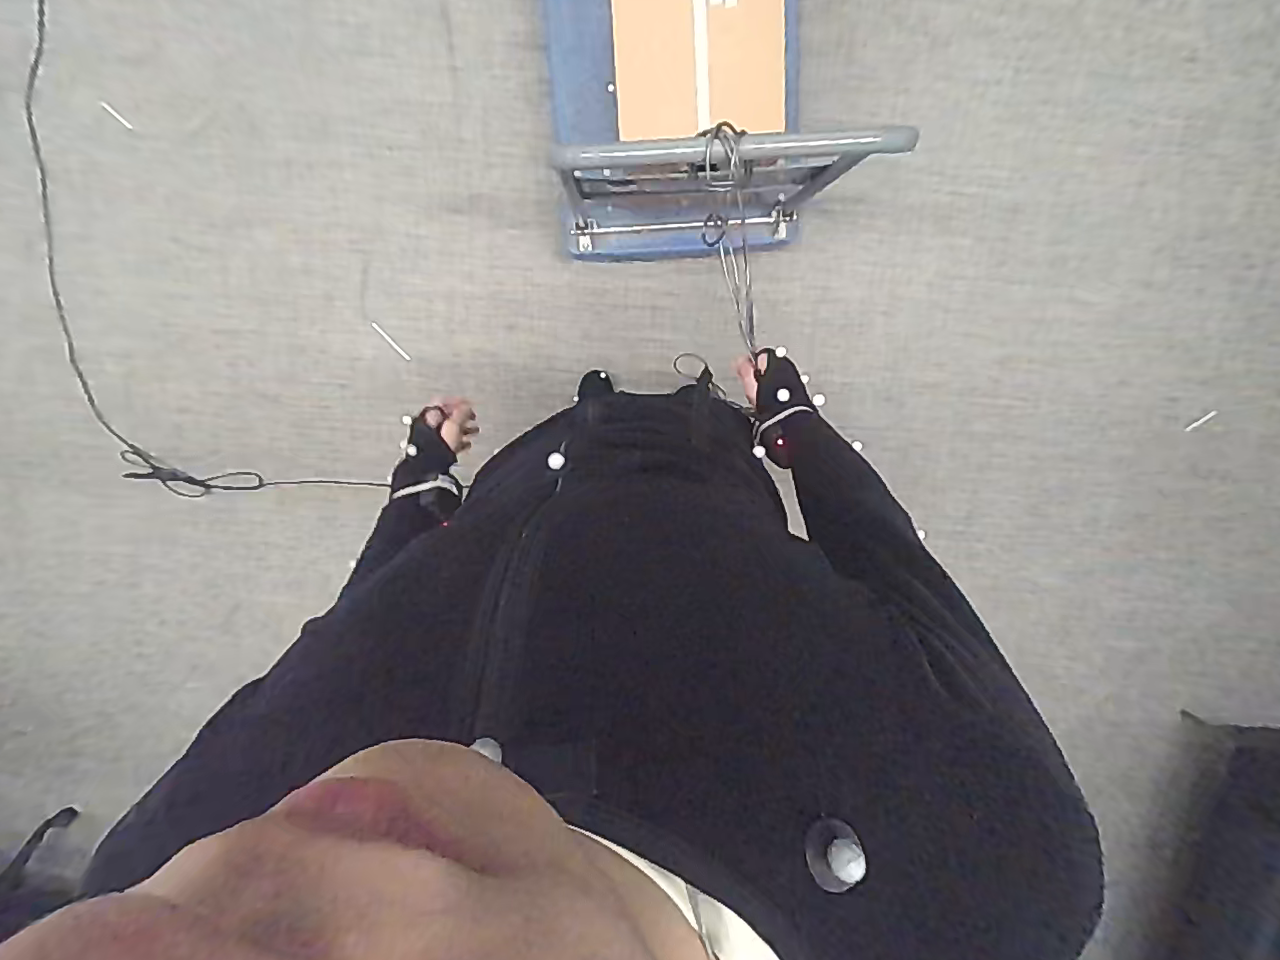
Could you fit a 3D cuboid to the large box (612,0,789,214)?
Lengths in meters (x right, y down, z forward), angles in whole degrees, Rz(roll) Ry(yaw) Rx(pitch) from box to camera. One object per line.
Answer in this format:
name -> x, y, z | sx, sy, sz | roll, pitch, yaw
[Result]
large box -> 0.112, -0.815, 1.120 | 0.320, 0.320, 0.408 | -3, 101, -1
